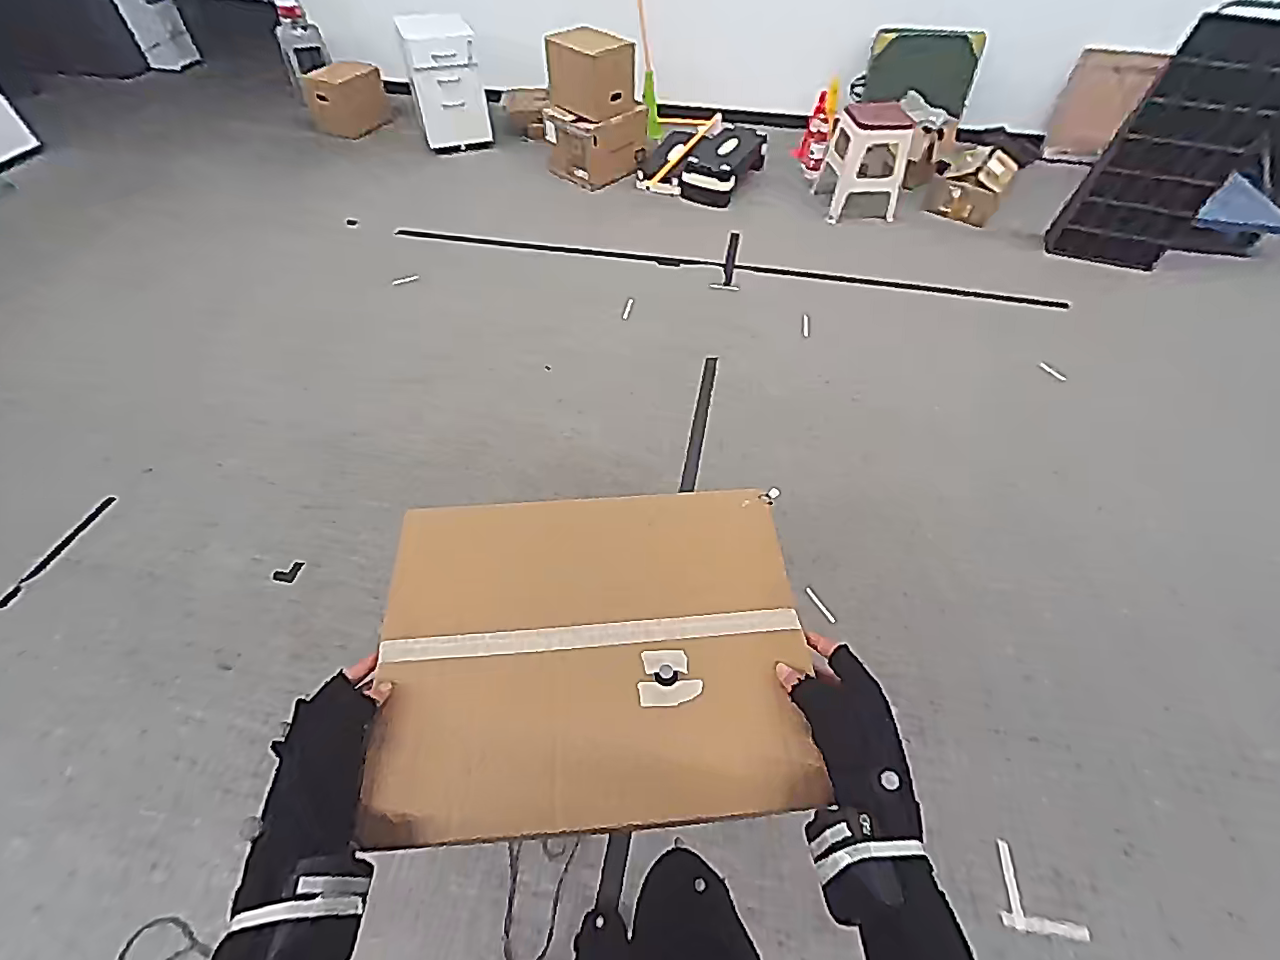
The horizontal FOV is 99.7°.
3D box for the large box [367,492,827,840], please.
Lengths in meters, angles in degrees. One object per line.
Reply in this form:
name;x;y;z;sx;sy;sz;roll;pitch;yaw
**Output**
large box;-0.048;0.236;0.664;0.408;0.320;0.320;-3;57;-3
